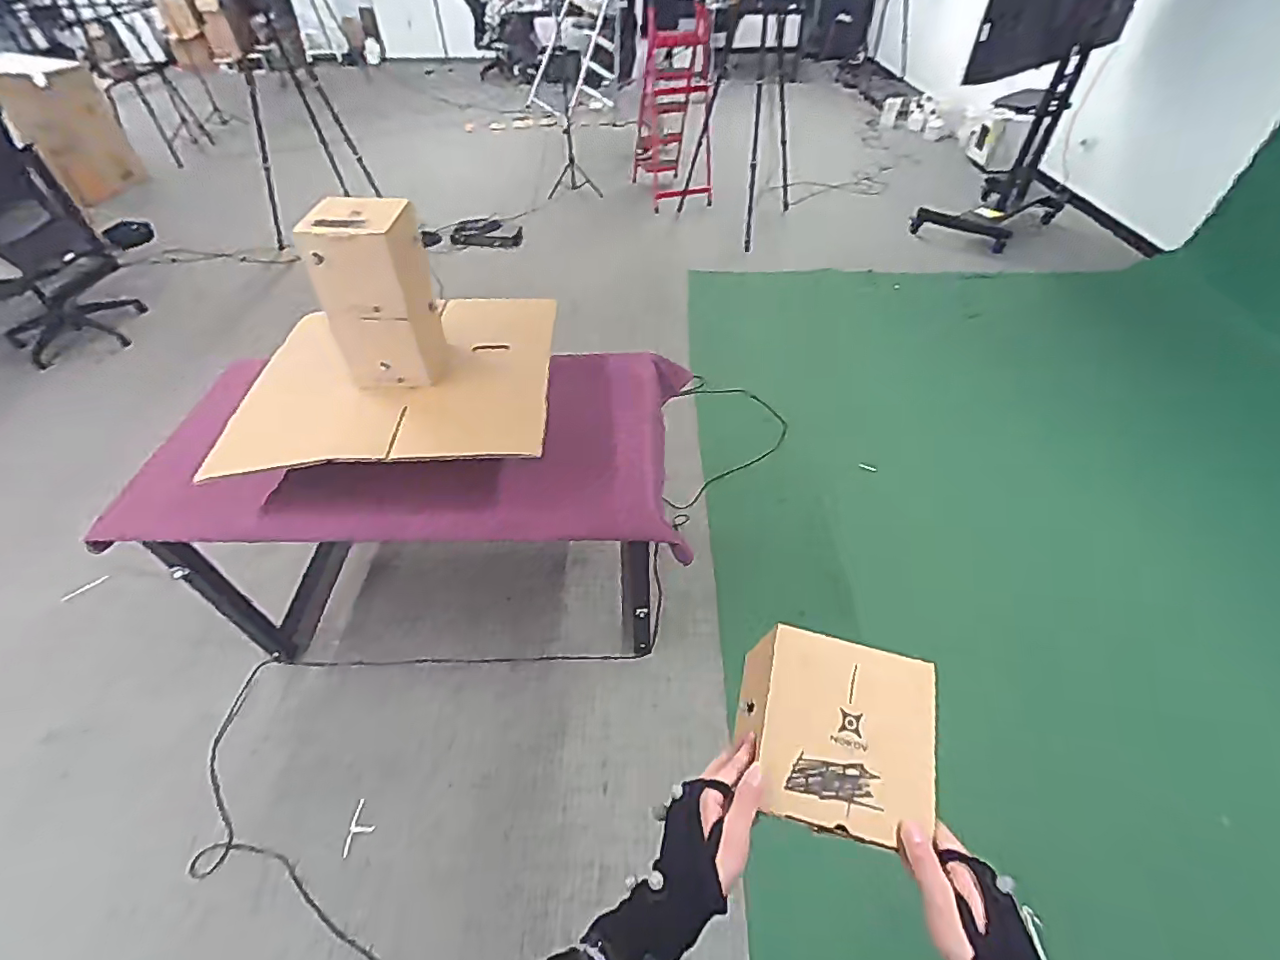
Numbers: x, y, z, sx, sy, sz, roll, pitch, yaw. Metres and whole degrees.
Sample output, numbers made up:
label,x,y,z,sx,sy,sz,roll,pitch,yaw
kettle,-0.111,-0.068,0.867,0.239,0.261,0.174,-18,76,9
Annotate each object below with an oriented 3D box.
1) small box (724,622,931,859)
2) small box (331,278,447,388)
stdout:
label,x,y,z,sx,sy,sz,roll,pitch,yaw
small box,0.194,0.279,0.591,0.168,0.176,0.179,14,61,5
small box,-0.534,-0.322,1.183,0.168,0.176,0.179,0,47,-2
